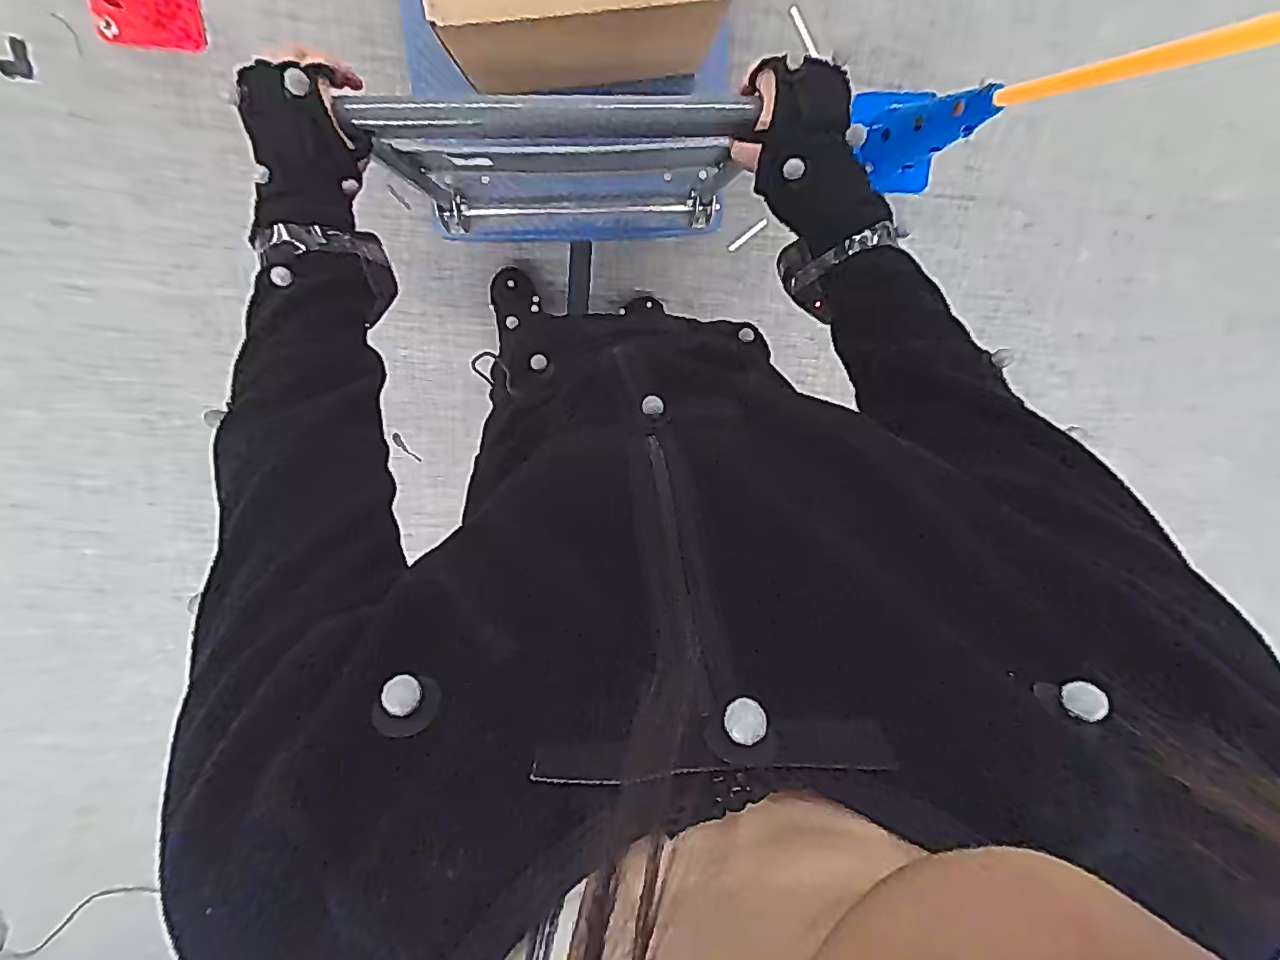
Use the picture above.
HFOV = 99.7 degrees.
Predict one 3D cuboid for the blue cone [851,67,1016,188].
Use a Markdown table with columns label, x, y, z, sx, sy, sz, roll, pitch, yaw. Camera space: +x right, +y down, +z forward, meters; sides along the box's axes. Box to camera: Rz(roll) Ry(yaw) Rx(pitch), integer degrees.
| label | x | y | z | sx | sy | sz | roll | pitch | yaw |
| --- | --- | --- | --- | --- | --- | --- | --- | --- | --- |
| blue cone | 0.584 | -0.708 | 1.060 | 0.193 | 0.380 | 0.192 | -1 | 110 | -5 |
